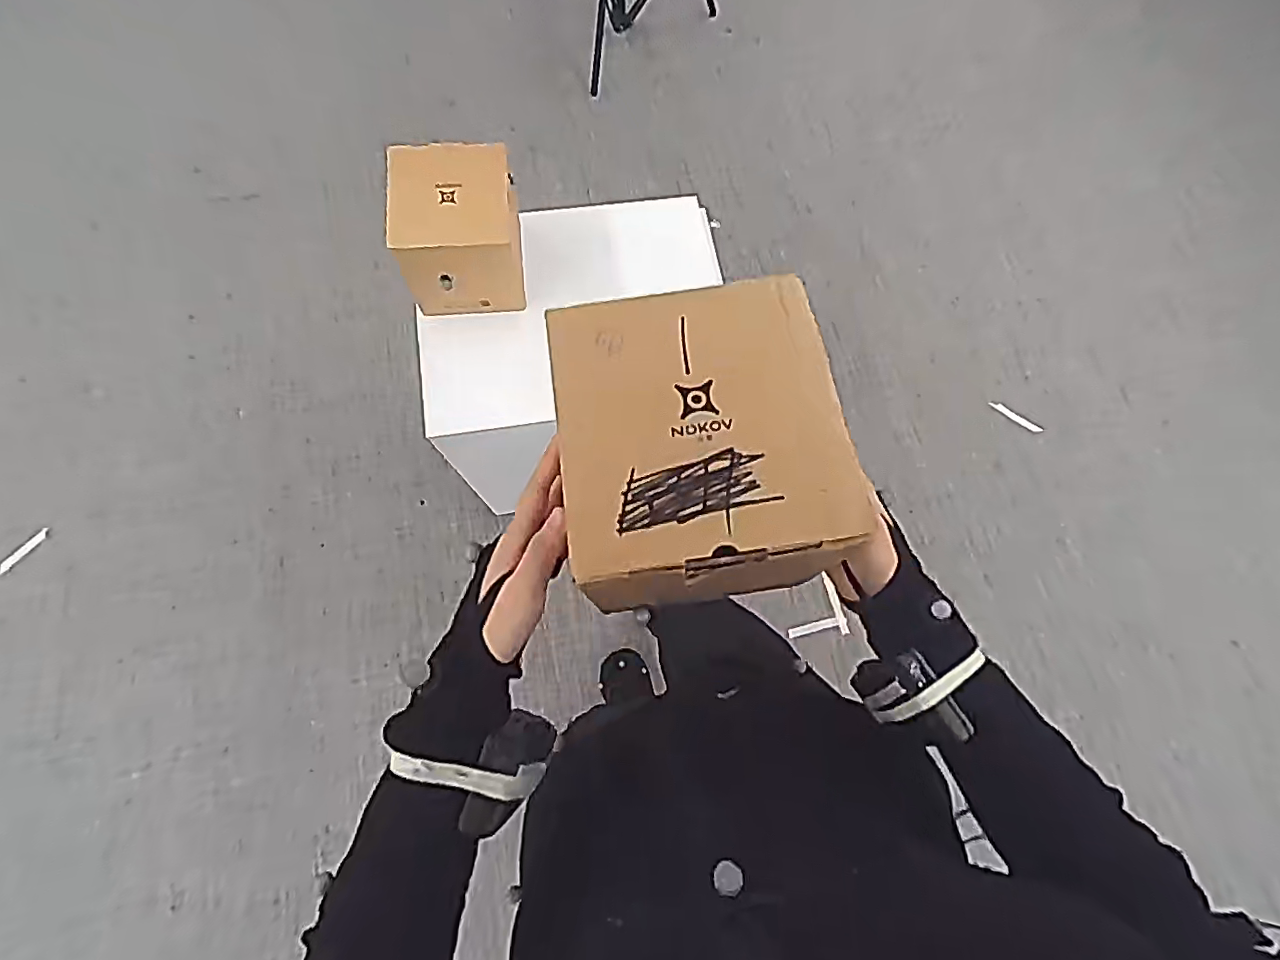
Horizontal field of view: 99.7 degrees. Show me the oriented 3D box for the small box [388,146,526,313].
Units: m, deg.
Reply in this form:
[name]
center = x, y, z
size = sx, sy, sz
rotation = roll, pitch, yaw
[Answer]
[small box]
center = -0.271, -0.372, 0.829
size = 0.168, 0.176, 0.179
rotation = -5, 75, -6
